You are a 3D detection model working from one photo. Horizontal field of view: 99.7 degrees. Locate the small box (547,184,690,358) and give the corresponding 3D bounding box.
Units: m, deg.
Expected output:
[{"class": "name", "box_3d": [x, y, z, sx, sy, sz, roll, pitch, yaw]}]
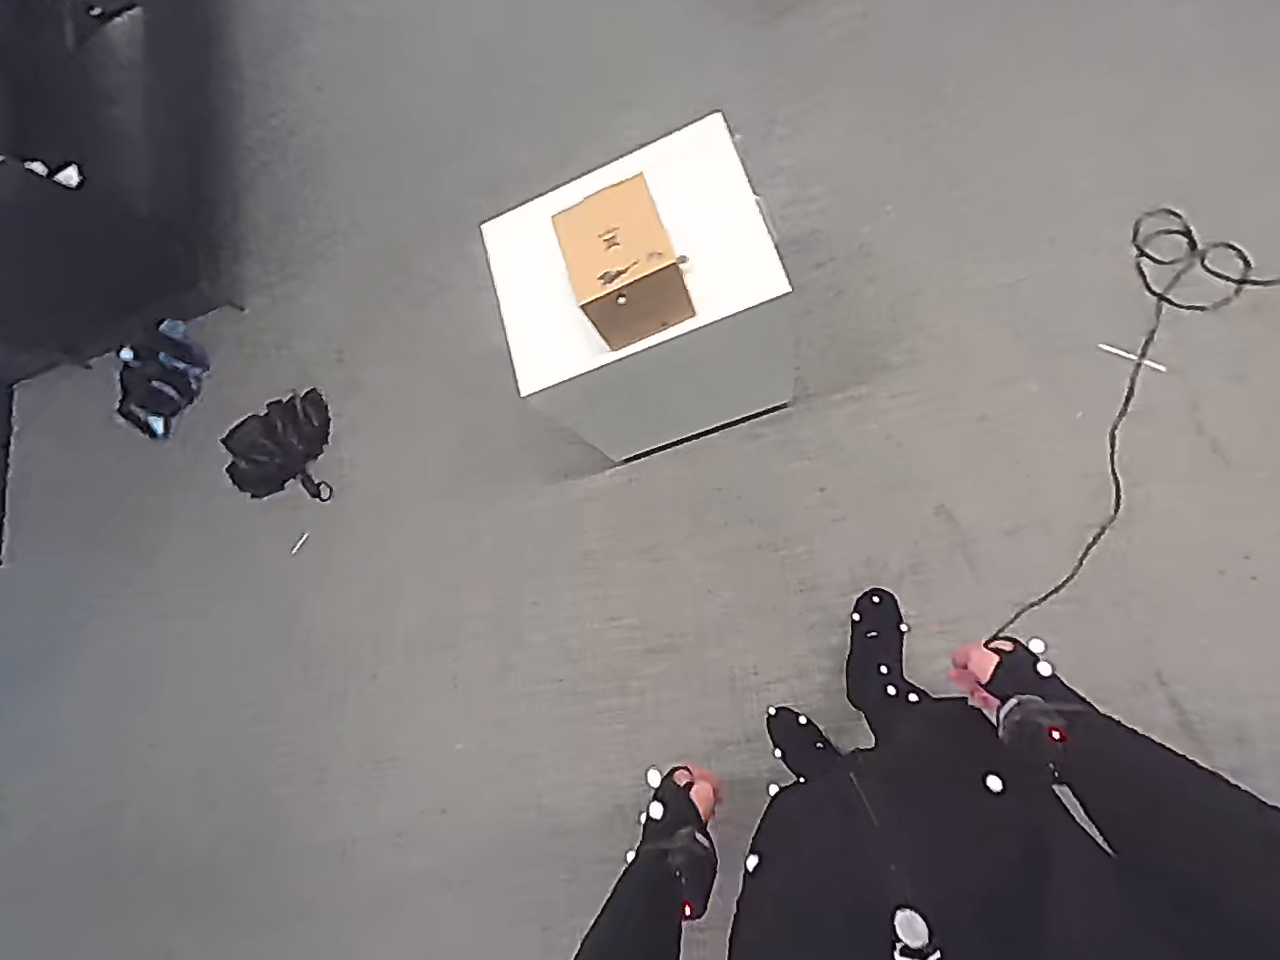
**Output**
[{"class": "small box", "box_3d": [-0.030, -0.338, 0.903, 0.168, 0.176, 0.179, -22, 72, 11]}]
